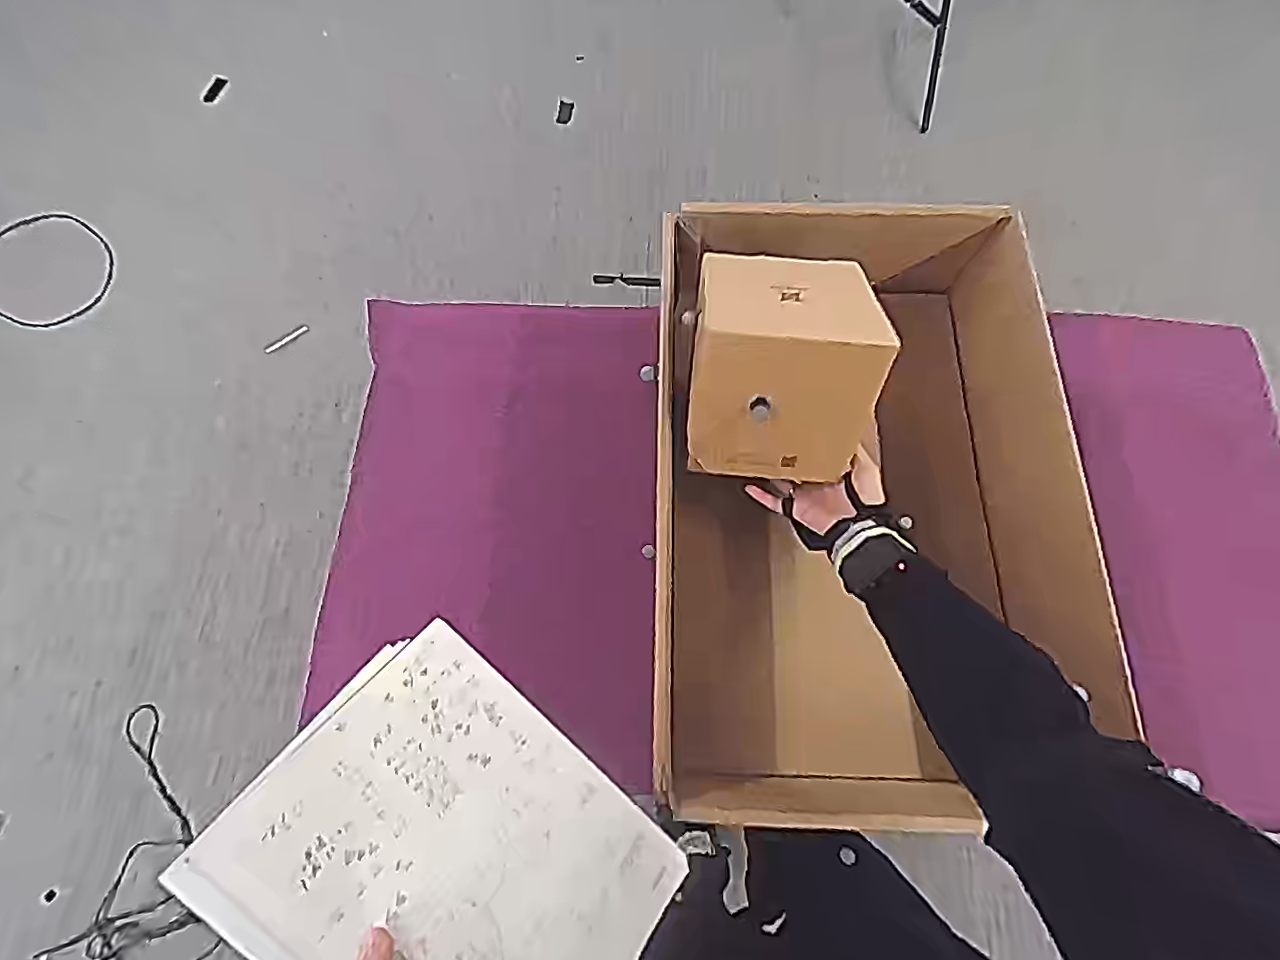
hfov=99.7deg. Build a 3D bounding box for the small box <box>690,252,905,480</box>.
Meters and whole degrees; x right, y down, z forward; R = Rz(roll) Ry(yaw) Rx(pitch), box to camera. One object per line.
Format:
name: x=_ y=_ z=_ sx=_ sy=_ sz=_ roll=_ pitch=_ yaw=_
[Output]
small box: x=0.145 y=-0.118 z=0.567 sx=0.168 sy=0.176 sz=0.179 roll=5 pitch=42 yaw=1
